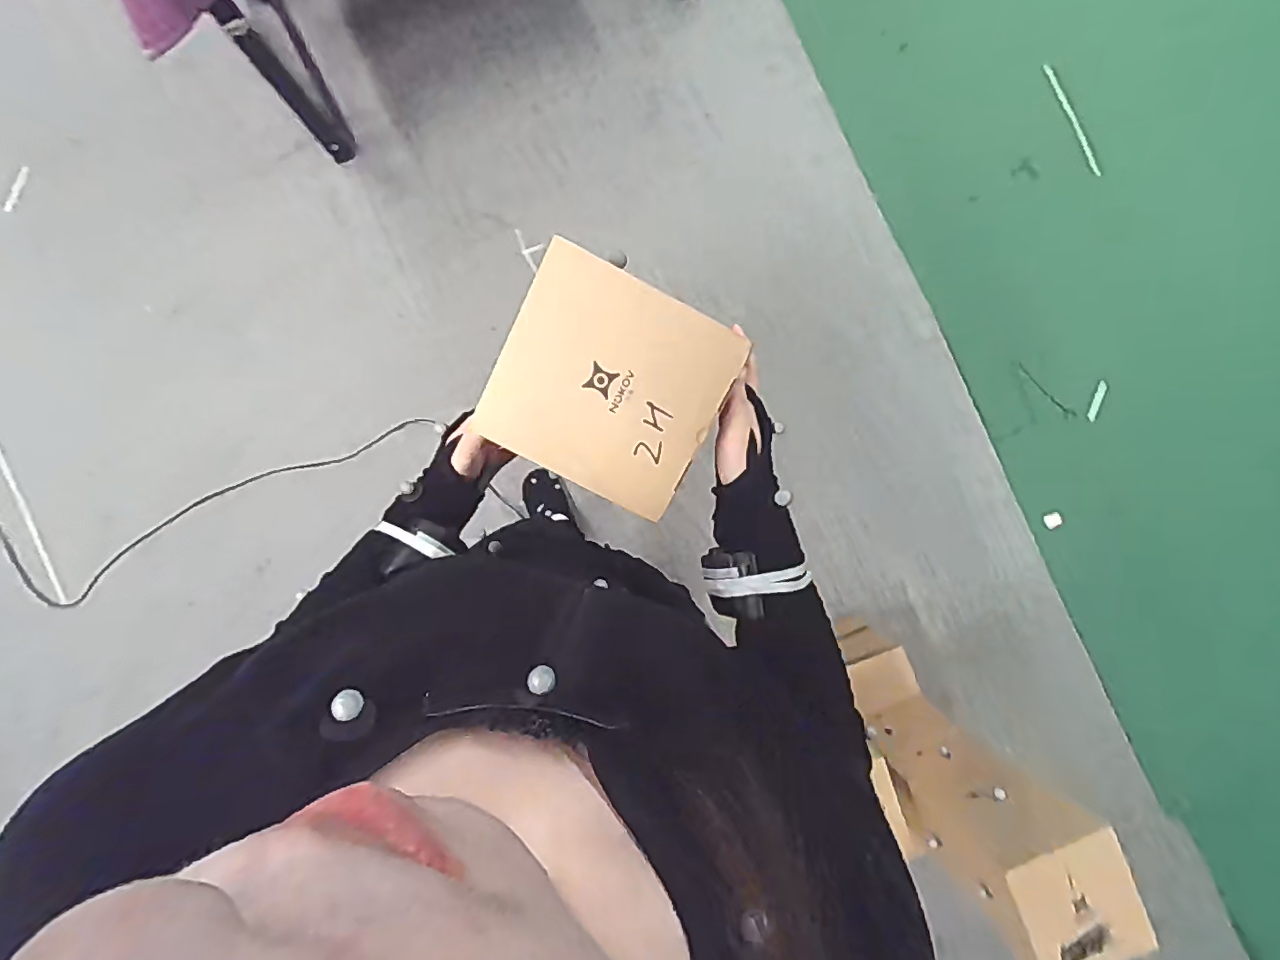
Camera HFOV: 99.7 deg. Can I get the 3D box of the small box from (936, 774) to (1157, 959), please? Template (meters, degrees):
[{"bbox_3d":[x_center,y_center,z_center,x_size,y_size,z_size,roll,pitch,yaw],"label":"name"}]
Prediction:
[{"bbox_3d":[0.580,0.580,0.797,0.168,0.176,0.179,-20,89,-3],"label":"small box"}]

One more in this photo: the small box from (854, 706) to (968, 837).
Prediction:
[{"bbox_3d":[0.575,0.596,1.123,0.168,0.176,0.179,-20,91,-3],"label":"small box"}]

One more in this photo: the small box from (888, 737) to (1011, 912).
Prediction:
[{"bbox_3d":[0.579,0.597,0.960,0.168,0.176,0.179,-20,88,-2],"label":"small box"}]
